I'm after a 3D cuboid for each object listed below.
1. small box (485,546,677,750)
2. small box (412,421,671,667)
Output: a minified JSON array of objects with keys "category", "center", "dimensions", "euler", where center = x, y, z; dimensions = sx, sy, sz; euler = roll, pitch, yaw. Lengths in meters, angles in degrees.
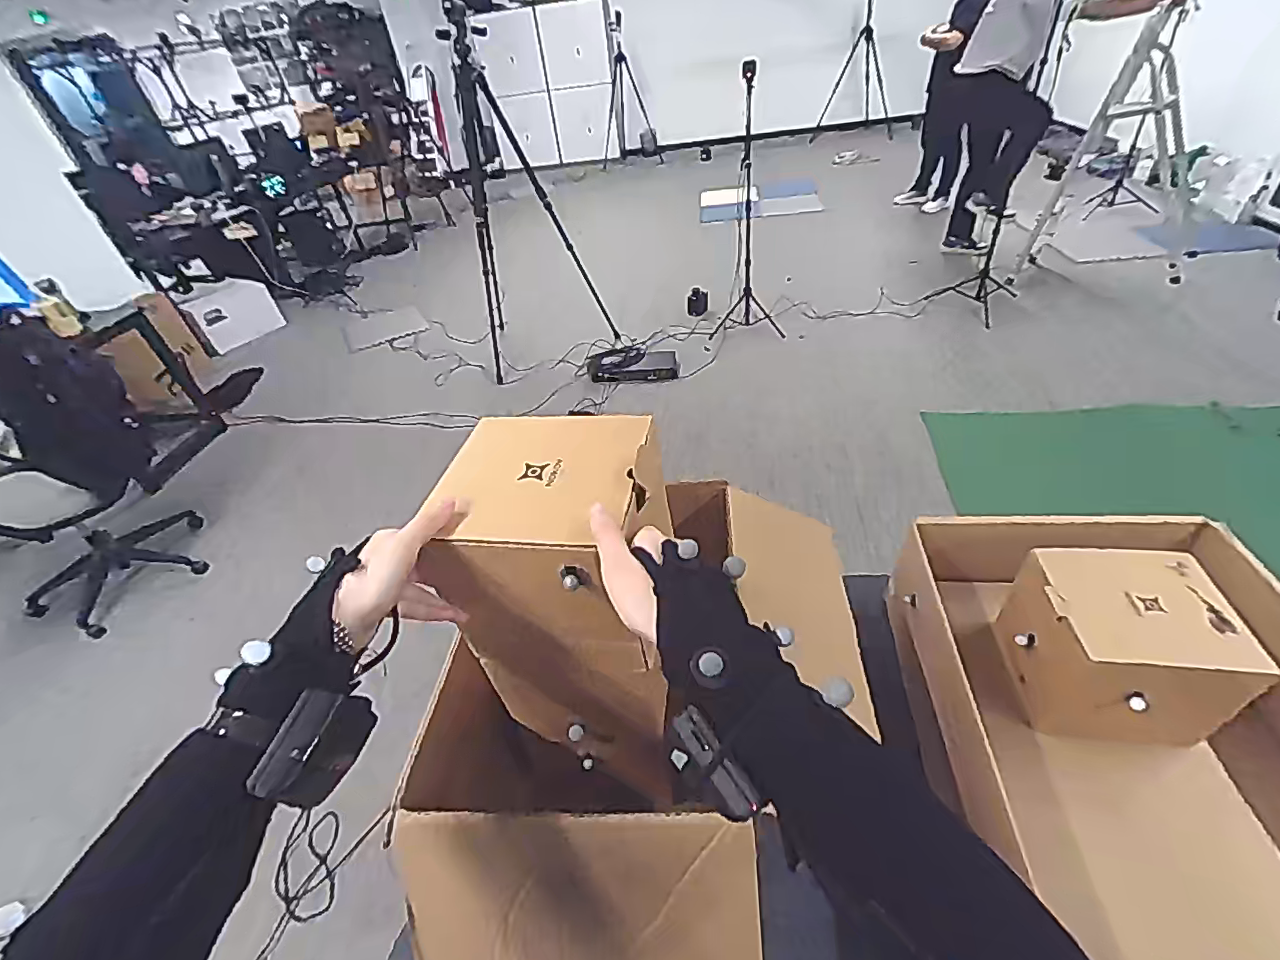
[{"category":"small box","center":[-0.051,0.179,0.620],"dimensions":[0.168,0.176,0.179],"euler":[0,43,11]},{"category":"small box","center":[-0.073,0.059,0.514],"dimensions":[0.179,0.176,0.168],"euler":[1,42,11]}]
